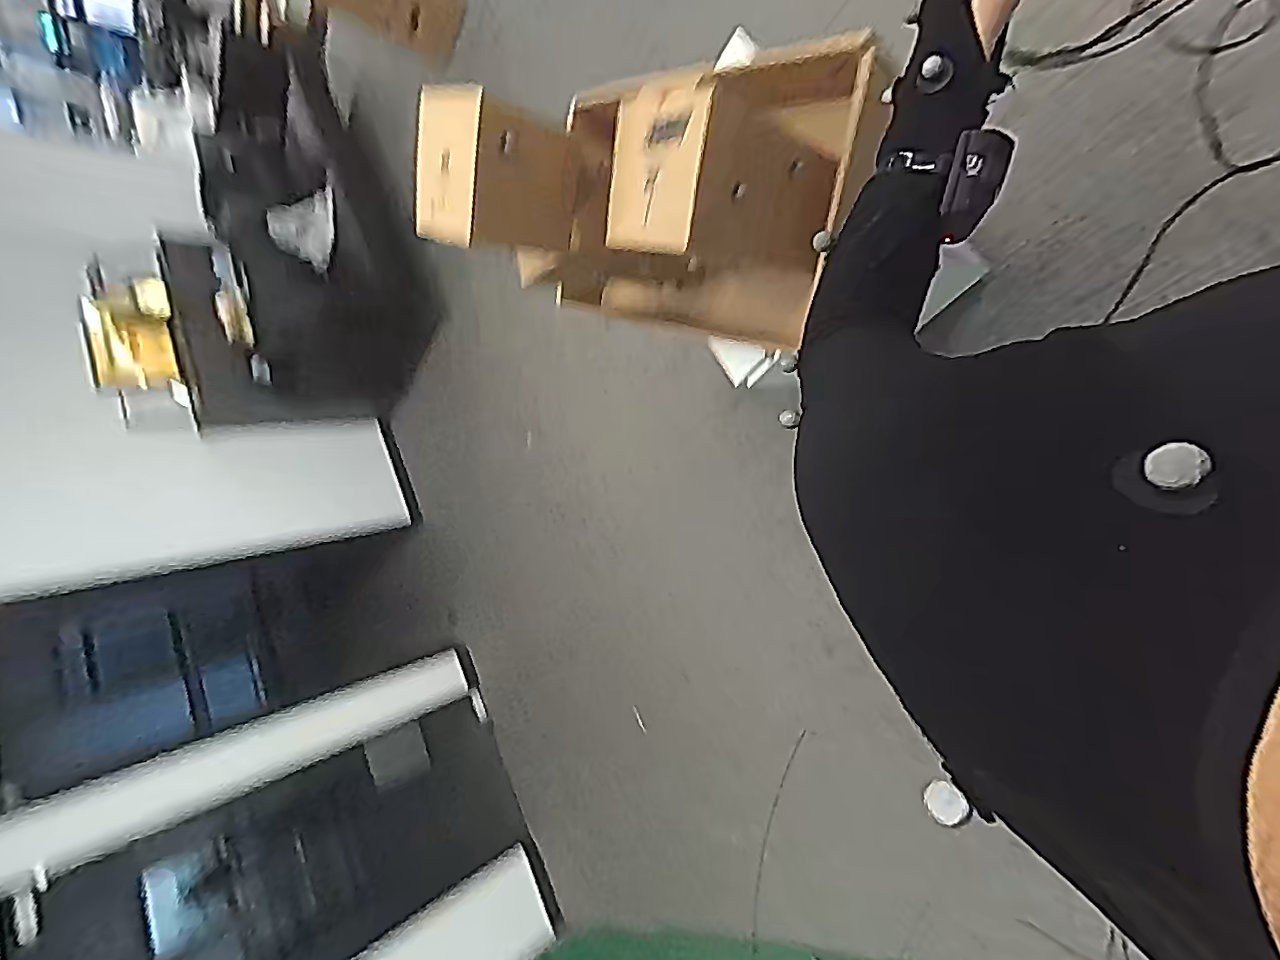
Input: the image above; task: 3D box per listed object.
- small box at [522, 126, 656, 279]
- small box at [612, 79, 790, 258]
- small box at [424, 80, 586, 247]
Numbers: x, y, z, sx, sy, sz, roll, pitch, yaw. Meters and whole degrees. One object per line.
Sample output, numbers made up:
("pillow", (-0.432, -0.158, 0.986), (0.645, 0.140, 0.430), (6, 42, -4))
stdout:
("small box", (-0.095, -0.465, 0.936), (0.168, 0.176, 0.179), (-7, 95, 46))
("small box", (0.086, -0.422, 0.755), (0.168, 0.176, 0.179), (29, 119, 41))
("small box", (-0.199, -0.463, 0.805), (0.168, 0.176, 0.179), (32, 120, 37))
